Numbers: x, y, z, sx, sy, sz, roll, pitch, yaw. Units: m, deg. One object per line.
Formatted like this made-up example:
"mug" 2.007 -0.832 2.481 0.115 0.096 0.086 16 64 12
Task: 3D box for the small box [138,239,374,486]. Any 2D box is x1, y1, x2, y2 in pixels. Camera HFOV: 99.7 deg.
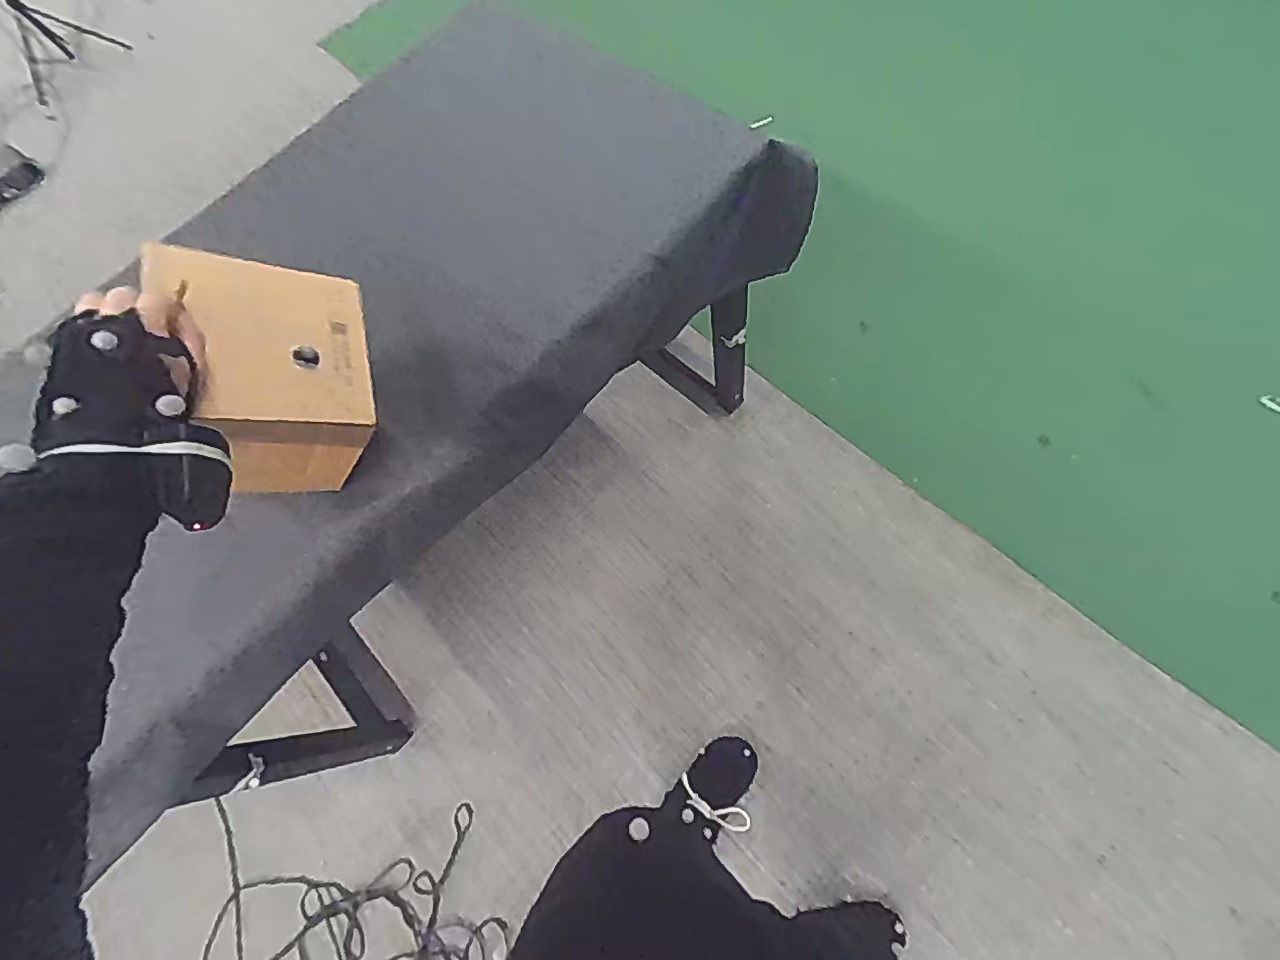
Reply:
"small box" -0.376 -0.095 0.539 0.179 0.176 0.168 -27 68 45
